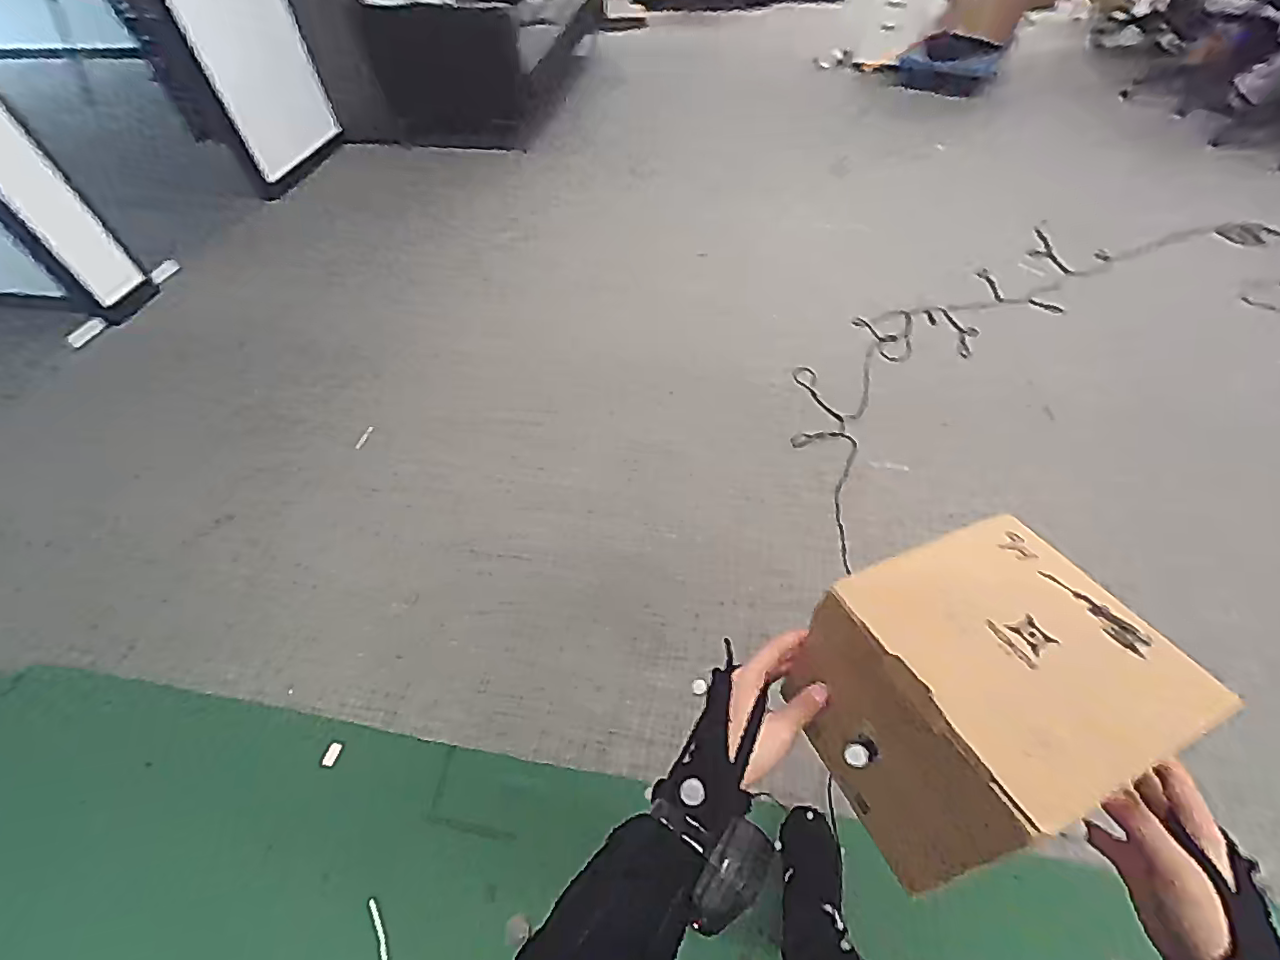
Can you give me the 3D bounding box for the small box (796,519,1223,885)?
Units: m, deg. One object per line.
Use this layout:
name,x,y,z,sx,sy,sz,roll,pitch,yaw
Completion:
small box,0.236,0.163,0.403,0.179,0.176,0.168,-16,47,-17
